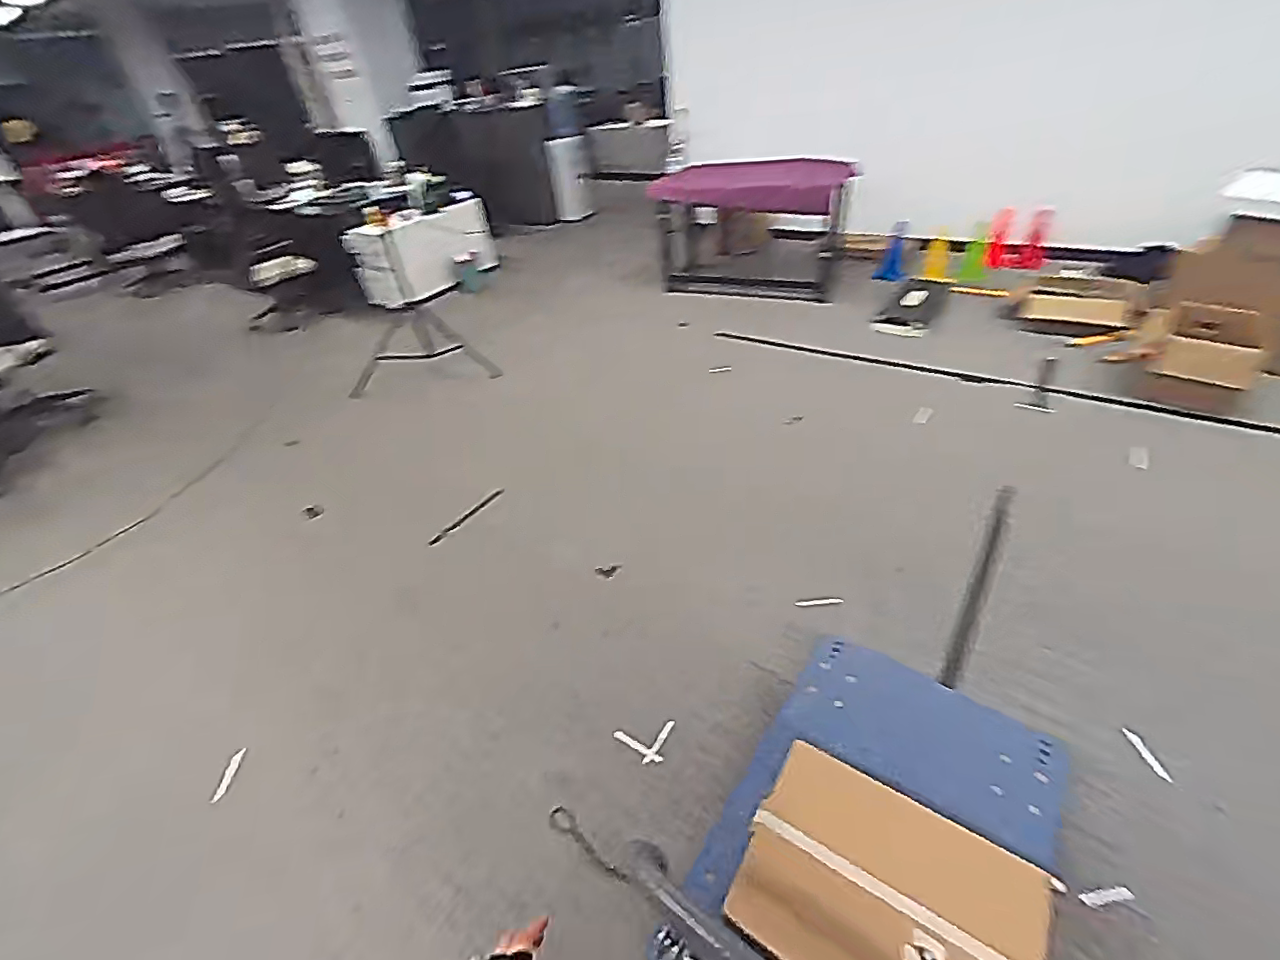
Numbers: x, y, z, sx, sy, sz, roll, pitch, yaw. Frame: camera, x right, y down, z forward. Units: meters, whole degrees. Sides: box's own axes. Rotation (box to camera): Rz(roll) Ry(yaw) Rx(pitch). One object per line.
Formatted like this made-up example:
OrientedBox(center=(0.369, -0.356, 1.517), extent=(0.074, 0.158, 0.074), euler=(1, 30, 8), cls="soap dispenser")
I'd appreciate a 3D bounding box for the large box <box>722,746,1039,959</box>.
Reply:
OrientedBox(center=(0.385, 0.753, 0.929), extent=(0.408, 0.320, 0.320), euler=(19, 46, 28), cls="large box")
